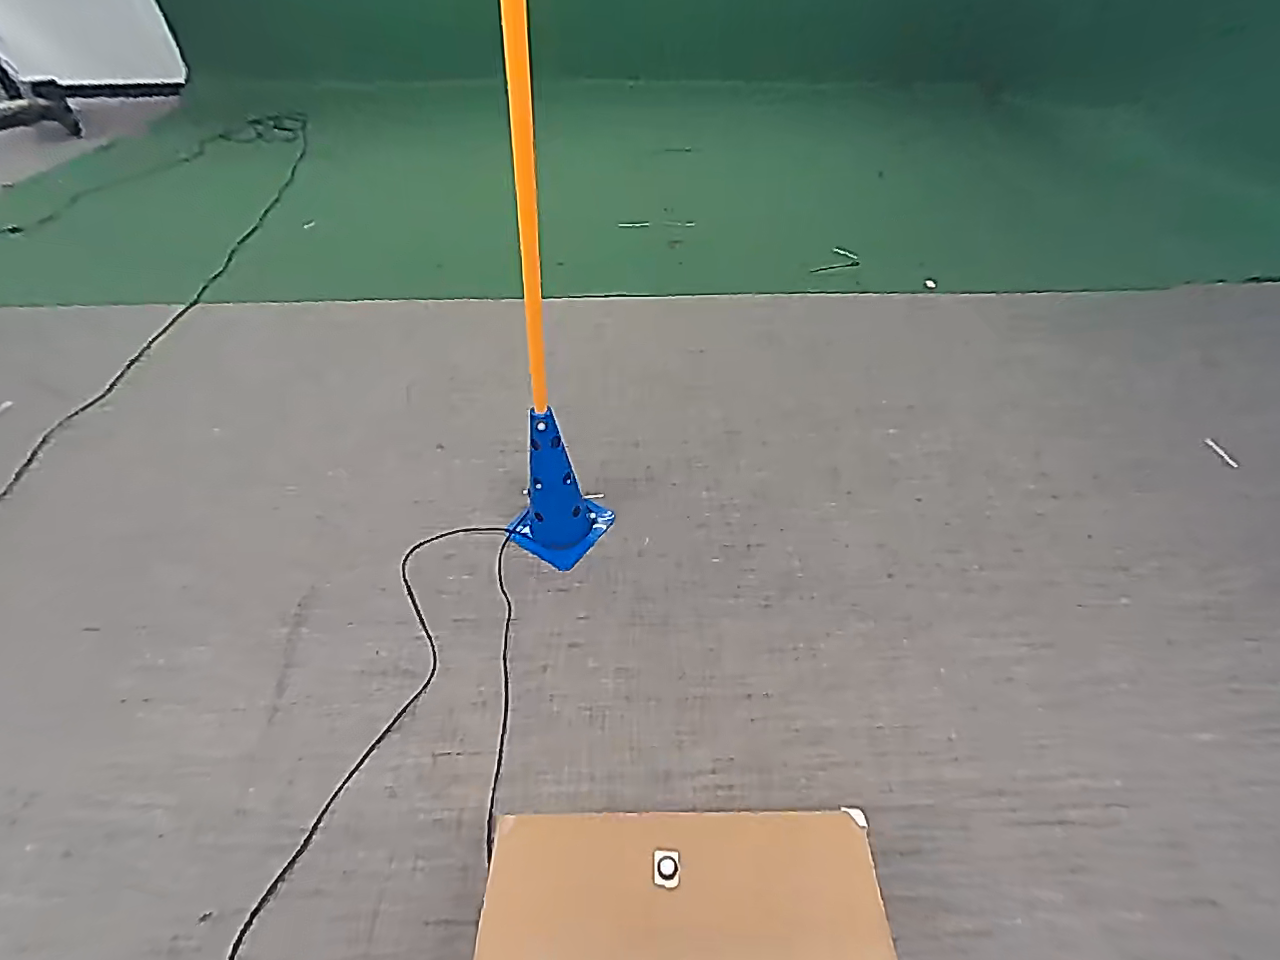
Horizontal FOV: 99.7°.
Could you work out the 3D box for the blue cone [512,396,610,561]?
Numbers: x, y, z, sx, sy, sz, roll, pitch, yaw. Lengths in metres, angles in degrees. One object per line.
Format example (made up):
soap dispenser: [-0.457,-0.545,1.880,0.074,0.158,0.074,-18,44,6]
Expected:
blue cone: [-0.184,-0.022,1.156,0.192,0.380,0.193,25,51,20]
